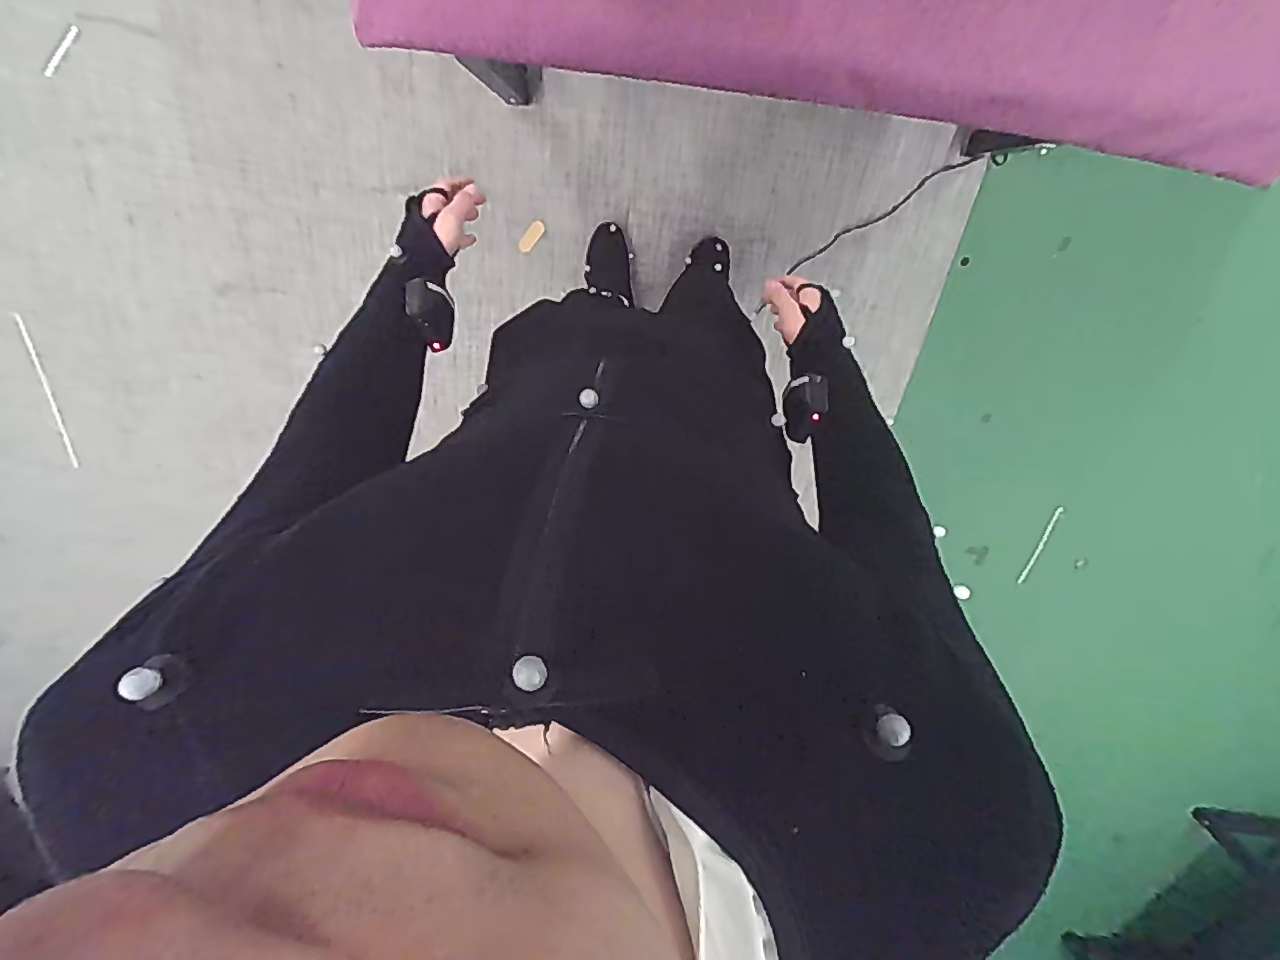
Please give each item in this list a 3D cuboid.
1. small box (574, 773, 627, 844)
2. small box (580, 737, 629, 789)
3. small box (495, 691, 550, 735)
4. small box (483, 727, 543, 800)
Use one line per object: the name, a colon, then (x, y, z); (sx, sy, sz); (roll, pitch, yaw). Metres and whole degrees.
small box: (-0.150, 1.260, 2.082); (0.179, 0.176, 0.168); (8, 116, -6)
small box: (-0.146, 1.189, 2.227); (0.179, 0.176, 0.168); (9, 117, -5)
small box: (-0.459, 0.947, 2.105); (0.179, 0.176, 0.168); (10, 117, -6)
small box: (-0.457, 1.024, 1.961); (0.179, 0.176, 0.168); (12, 115, -7)
